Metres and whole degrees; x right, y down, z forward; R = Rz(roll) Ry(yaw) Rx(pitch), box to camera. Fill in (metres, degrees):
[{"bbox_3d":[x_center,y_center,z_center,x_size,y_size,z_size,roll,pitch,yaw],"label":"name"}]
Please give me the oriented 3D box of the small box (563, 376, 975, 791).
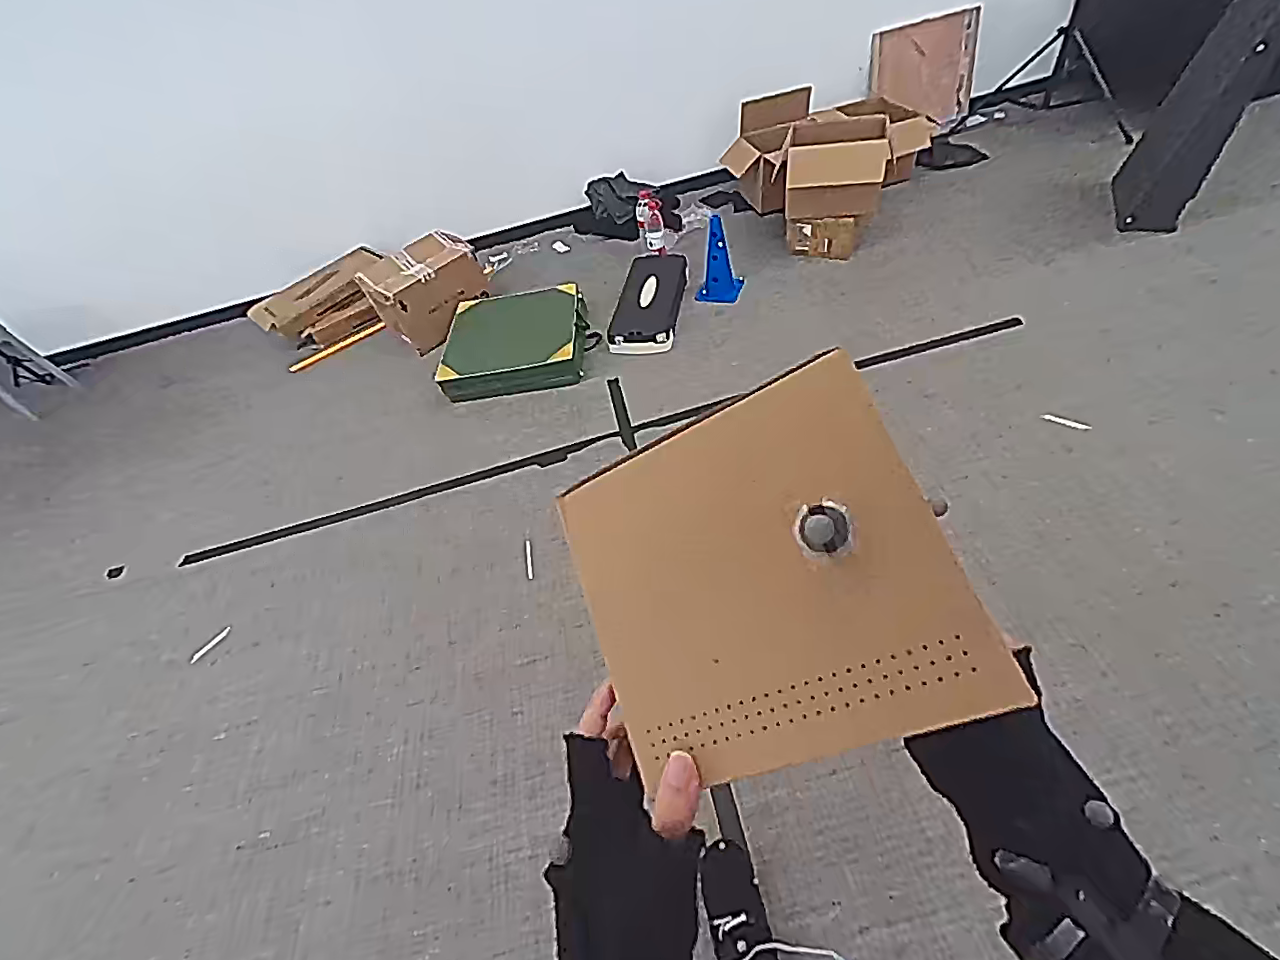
[{"bbox_3d":[0.086,0.066,0.344,0.179,0.168,0.176,-28,71,21],"label":"small box"}]
